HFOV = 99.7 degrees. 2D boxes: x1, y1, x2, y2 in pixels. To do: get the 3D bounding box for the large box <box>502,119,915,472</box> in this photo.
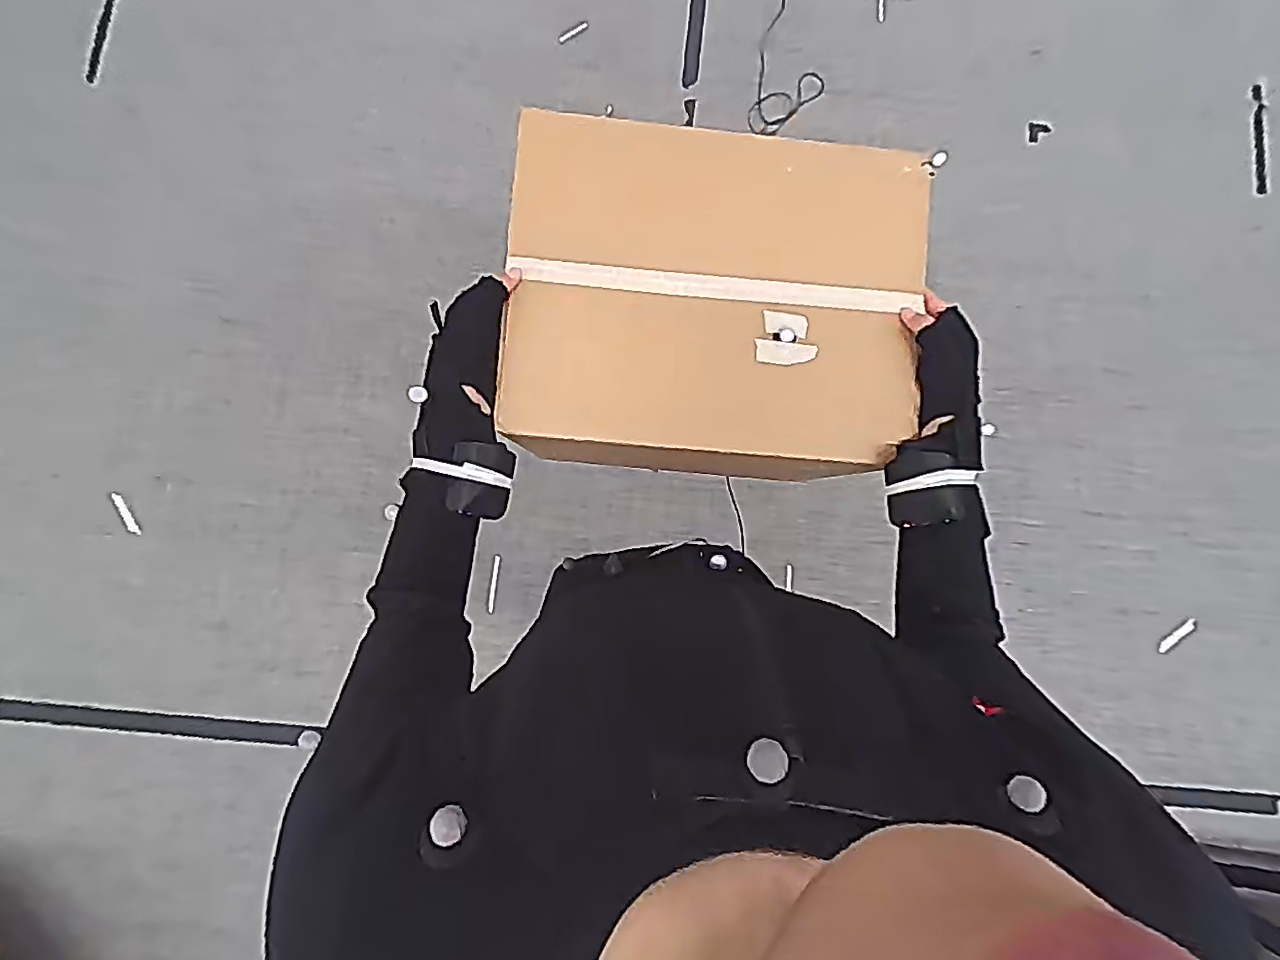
[{"bbox_3d":[0.063,-0.183,0.683,0.408,0.320,0.320,5,89,-4],"label":"large box"}]
